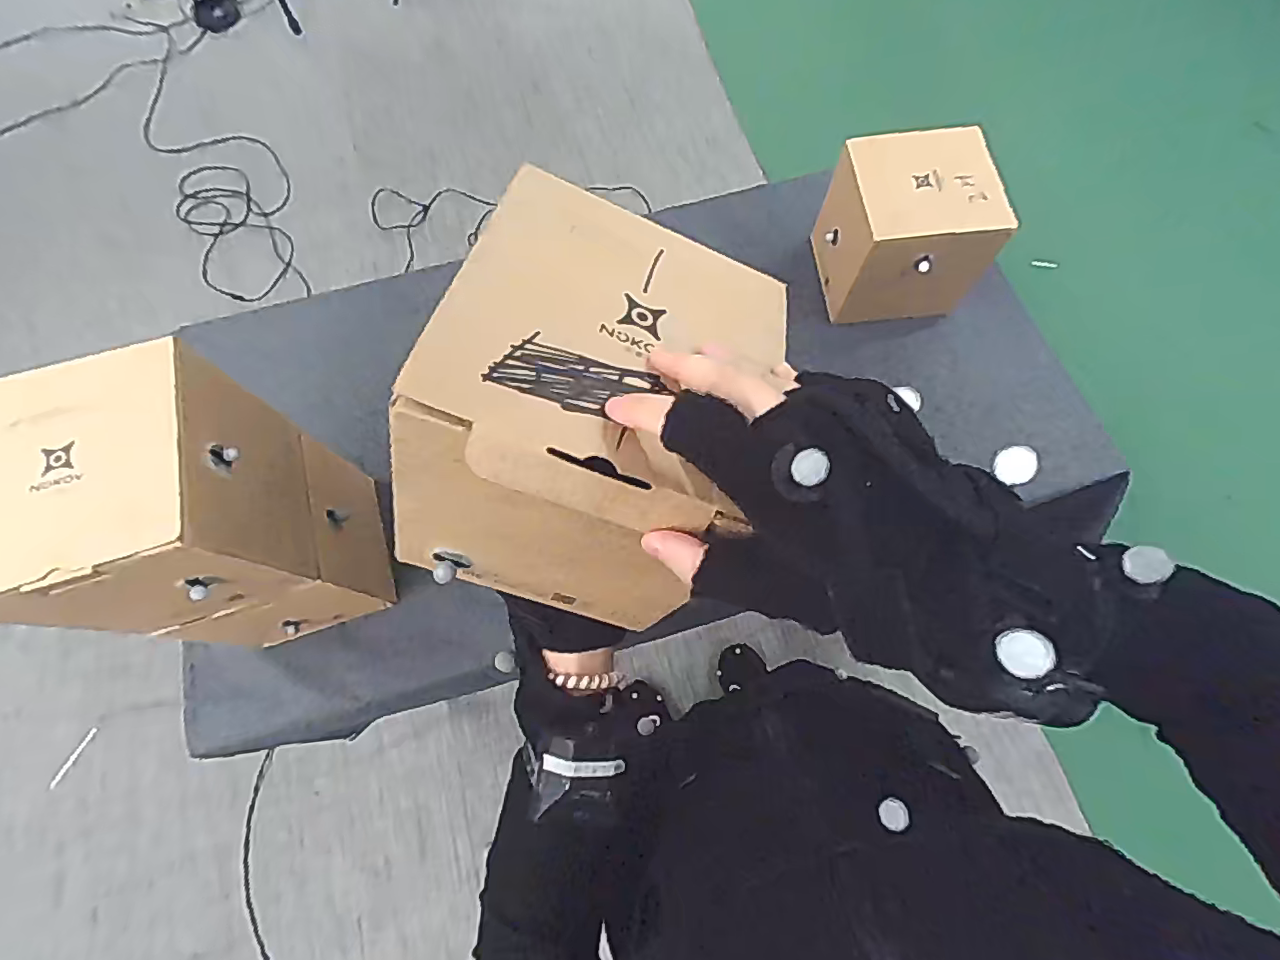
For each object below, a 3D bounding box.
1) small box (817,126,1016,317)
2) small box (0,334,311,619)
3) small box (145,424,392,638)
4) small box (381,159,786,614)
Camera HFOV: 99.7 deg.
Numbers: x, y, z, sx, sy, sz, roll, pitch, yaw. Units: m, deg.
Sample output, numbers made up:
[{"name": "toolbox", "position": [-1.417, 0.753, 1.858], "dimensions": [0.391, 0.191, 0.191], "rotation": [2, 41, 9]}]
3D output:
[{"name": "small box", "position": [0.354, -0.340, 0.737], "dimensions": [0.179, 0.176, 0.168], "rotation": [-5, 72, 0]}, {"name": "small box", "position": [-0.409, 0.012, 0.459], "dimensions": [0.168, 0.176, 0.179], "rotation": [-16, 71, -6]}, {"name": "small box", "position": [-0.407, 0.067, 0.613], "dimensions": [0.168, 0.176, 0.179], "rotation": [-18, 72, -6]}, {"name": "small box", "position": [-0.032, -0.037, 0.323], "dimensions": [0.168, 0.176, 0.179], "rotation": [19, 56, -12]}]
